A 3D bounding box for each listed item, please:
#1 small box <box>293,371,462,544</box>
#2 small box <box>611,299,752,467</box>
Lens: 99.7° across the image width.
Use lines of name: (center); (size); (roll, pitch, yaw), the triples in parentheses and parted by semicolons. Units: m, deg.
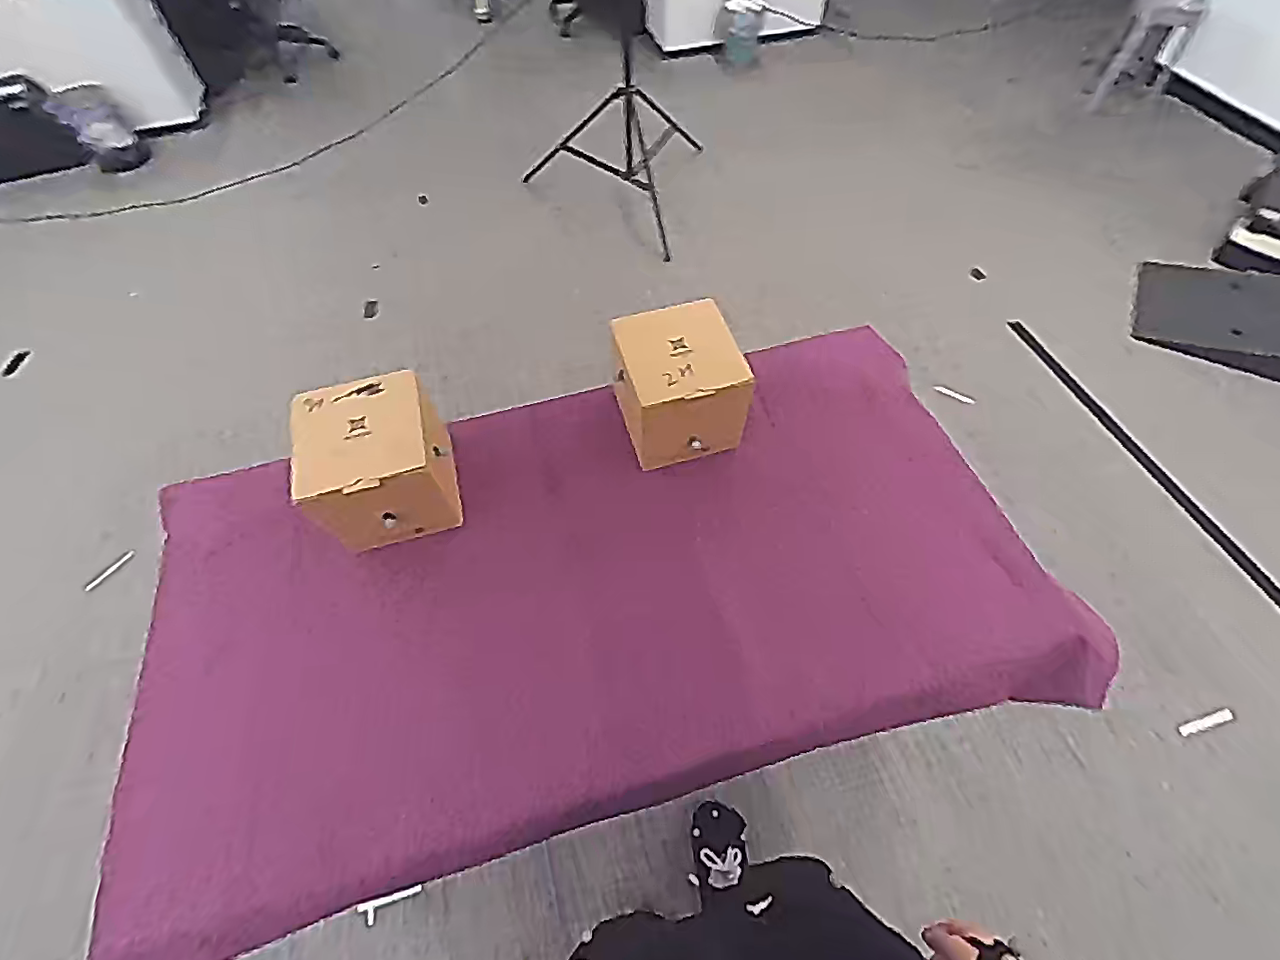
small box: (-0.369, -0.023, 0.780); (0.168, 0.176, 0.179); (-15, 62, -9)
small box: (0.056, -0.148, 0.848); (0.168, 0.176, 0.179); (-15, 61, -7)
